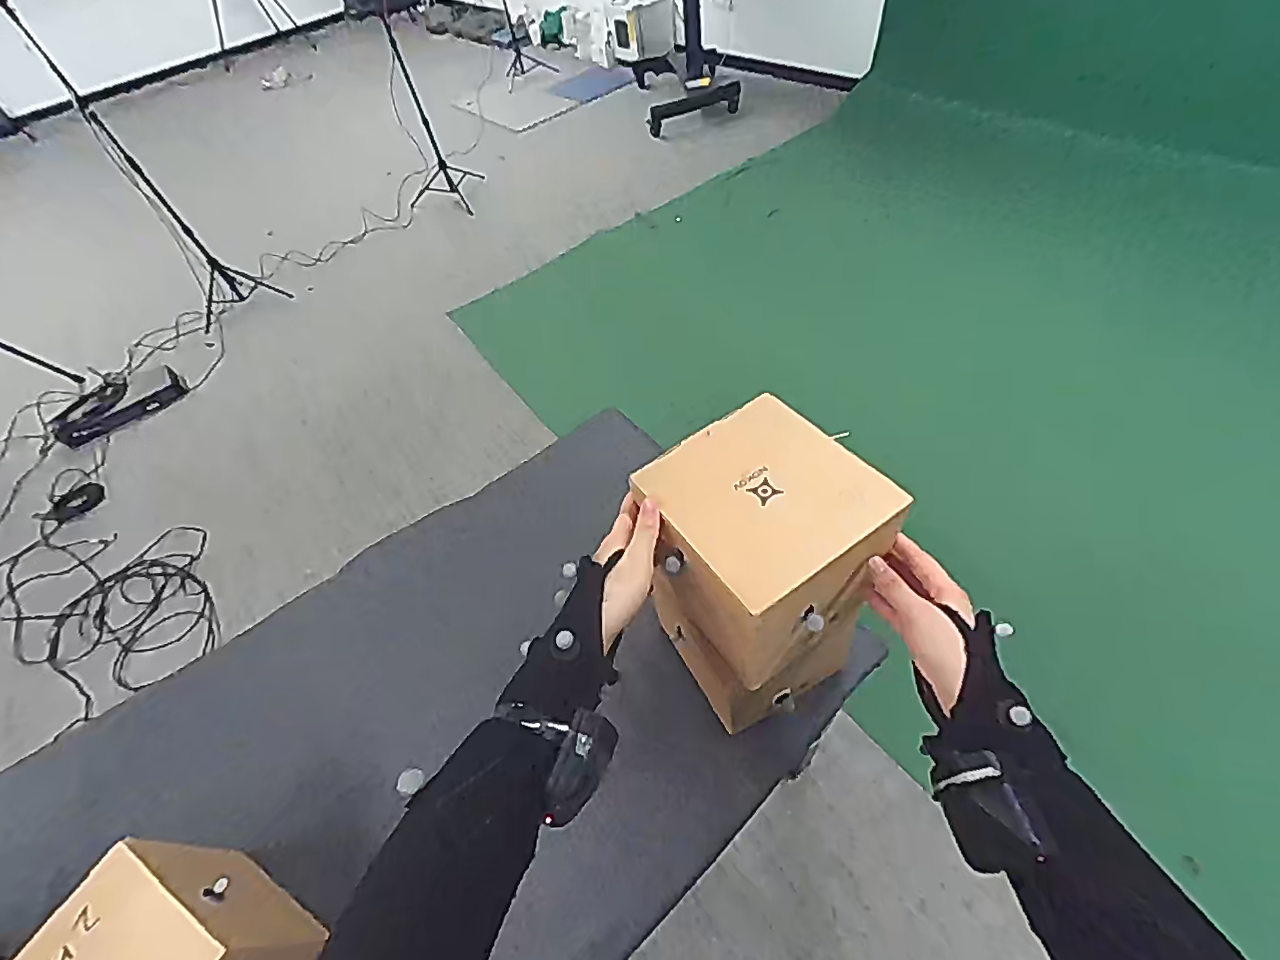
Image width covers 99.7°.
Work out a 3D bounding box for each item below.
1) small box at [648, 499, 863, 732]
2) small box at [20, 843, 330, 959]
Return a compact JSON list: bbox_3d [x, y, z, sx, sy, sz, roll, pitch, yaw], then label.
[{"bbox_3d":[0.130,0.162,0.641,0.168,0.176,0.179,-28,51,-10],"label":"small box"},{"bbox_3d":[-0.440,0.475,0.504,0.179,0.176,0.168,18,57,23],"label":"small box"}]
